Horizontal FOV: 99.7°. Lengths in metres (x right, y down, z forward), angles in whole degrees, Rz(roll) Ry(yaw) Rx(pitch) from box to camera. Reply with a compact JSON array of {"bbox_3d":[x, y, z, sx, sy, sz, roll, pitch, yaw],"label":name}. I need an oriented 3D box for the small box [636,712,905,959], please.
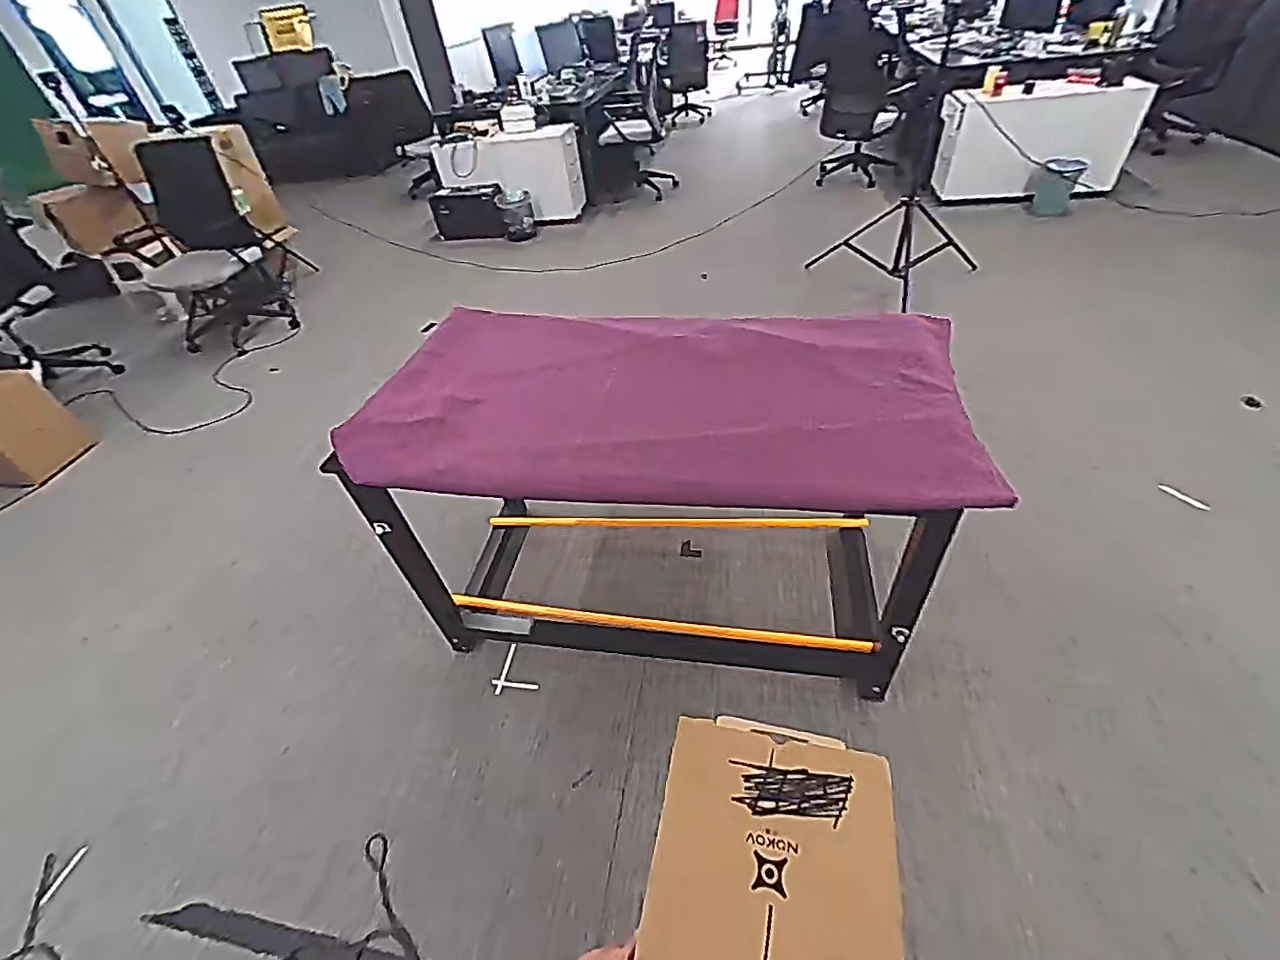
[{"bbox_3d":[0.101,0.322,0.433,0.168,0.176,0.179,5,42,14],"label":"small box"}]
